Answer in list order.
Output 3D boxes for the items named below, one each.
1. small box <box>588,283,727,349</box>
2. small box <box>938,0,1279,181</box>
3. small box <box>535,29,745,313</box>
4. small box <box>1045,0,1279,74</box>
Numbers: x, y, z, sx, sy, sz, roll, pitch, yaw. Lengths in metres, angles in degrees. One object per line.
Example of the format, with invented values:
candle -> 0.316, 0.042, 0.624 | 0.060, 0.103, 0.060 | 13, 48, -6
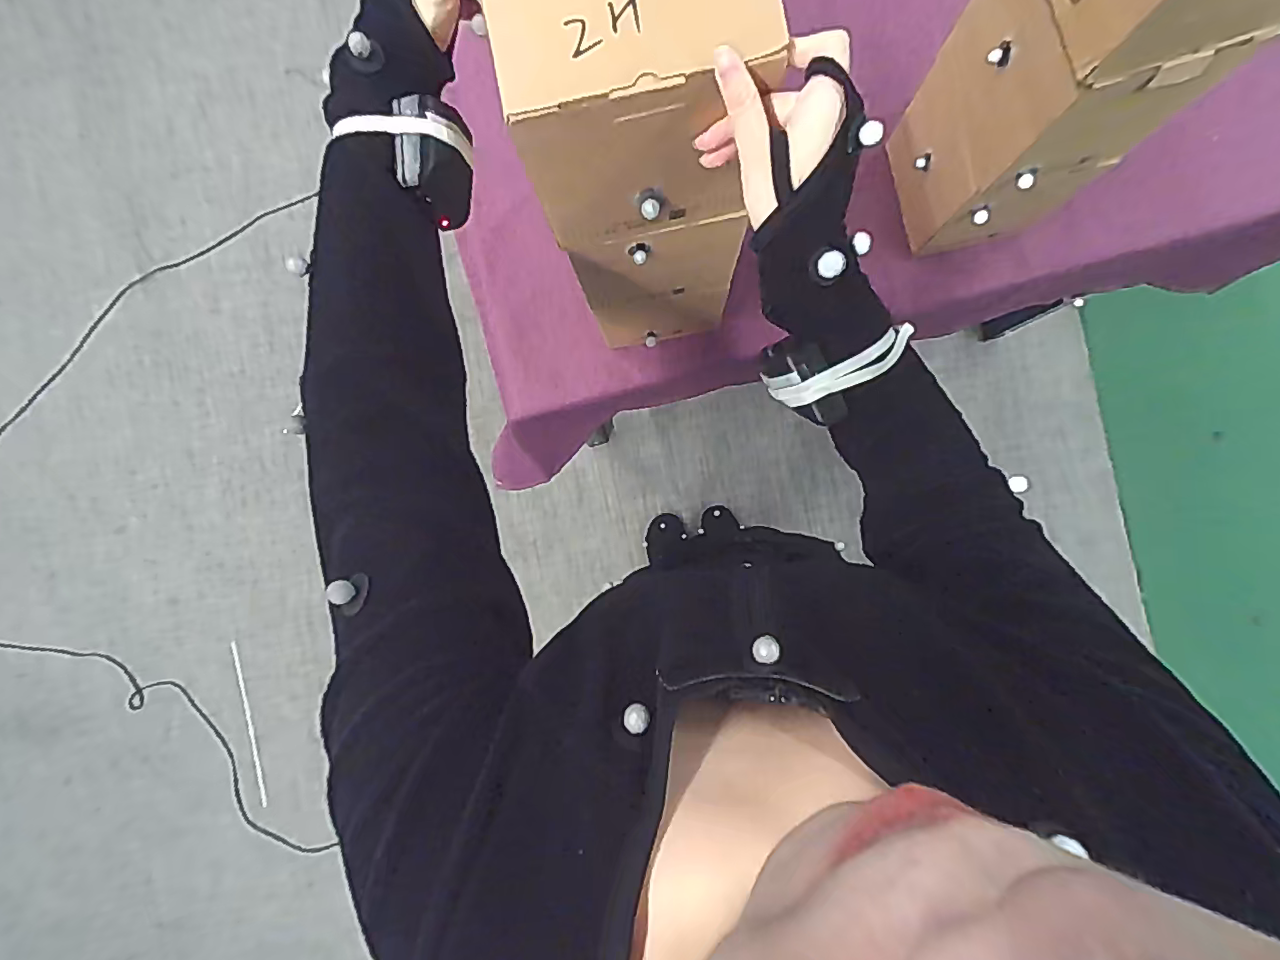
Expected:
small box -> 0.013, -0.292, 0.721 | 0.168, 0.176, 0.179 | -10, 88, 4
small box -> 0.432, -0.429, 0.532 | 0.168, 0.176, 0.179 | -16, 86, 3
small box -> 0.004, -0.297, 0.556 | 0.168, 0.176, 0.179 | -10, 88, 4
small box -> 0.416, -0.436, 0.370 | 0.179, 0.176, 0.168 | -17, 87, 4
